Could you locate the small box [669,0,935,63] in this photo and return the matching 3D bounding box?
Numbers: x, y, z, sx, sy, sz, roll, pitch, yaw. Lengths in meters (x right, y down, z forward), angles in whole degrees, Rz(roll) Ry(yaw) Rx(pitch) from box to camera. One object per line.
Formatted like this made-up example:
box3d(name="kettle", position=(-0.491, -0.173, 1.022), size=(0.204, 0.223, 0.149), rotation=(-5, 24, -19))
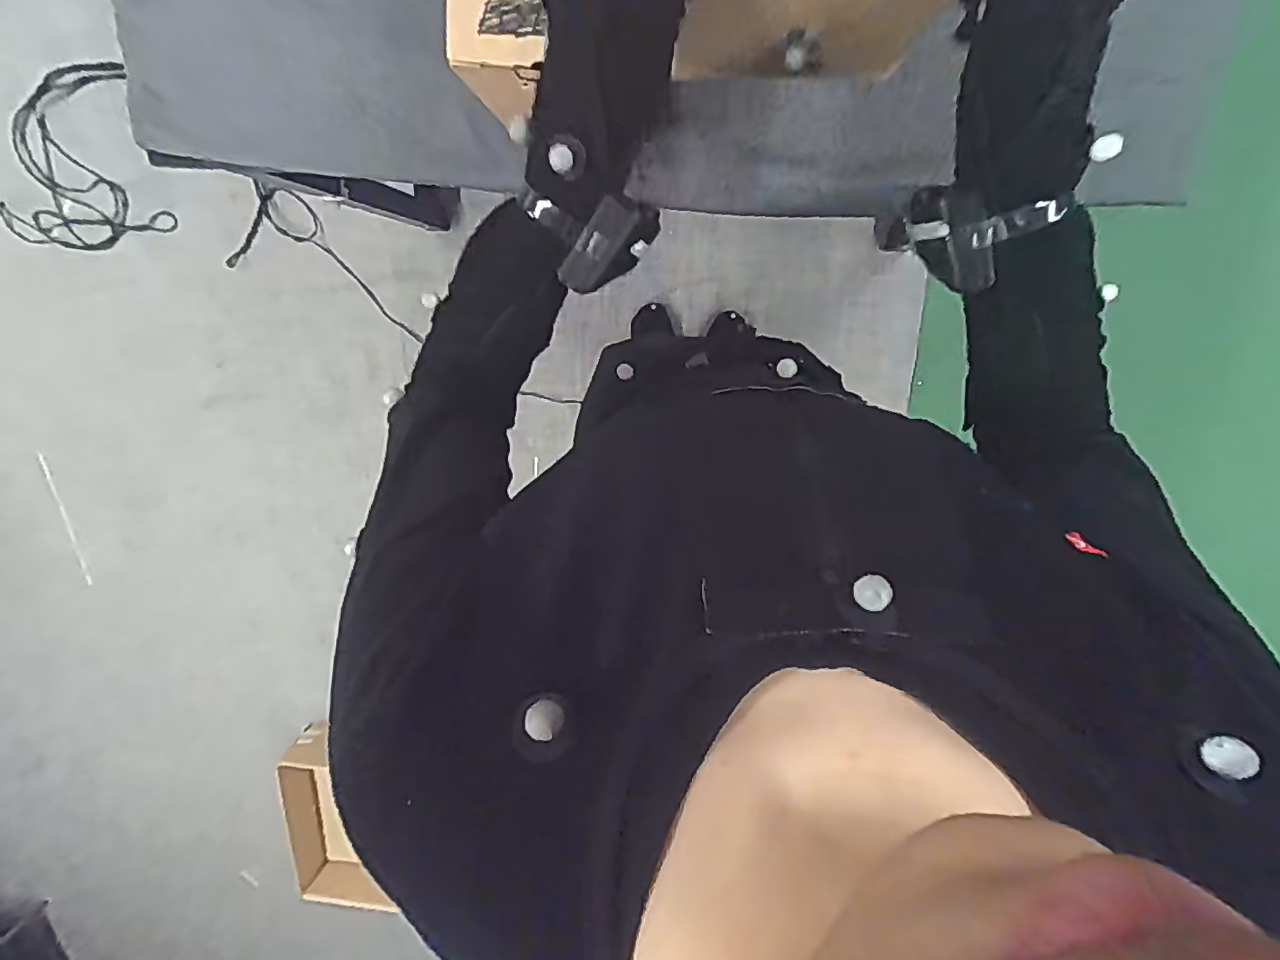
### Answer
box3d(name="small box", position=(0.102, -0.372, 0.296), size=(0.168, 0.176, 0.179), rotation=(1, 105, 1))
